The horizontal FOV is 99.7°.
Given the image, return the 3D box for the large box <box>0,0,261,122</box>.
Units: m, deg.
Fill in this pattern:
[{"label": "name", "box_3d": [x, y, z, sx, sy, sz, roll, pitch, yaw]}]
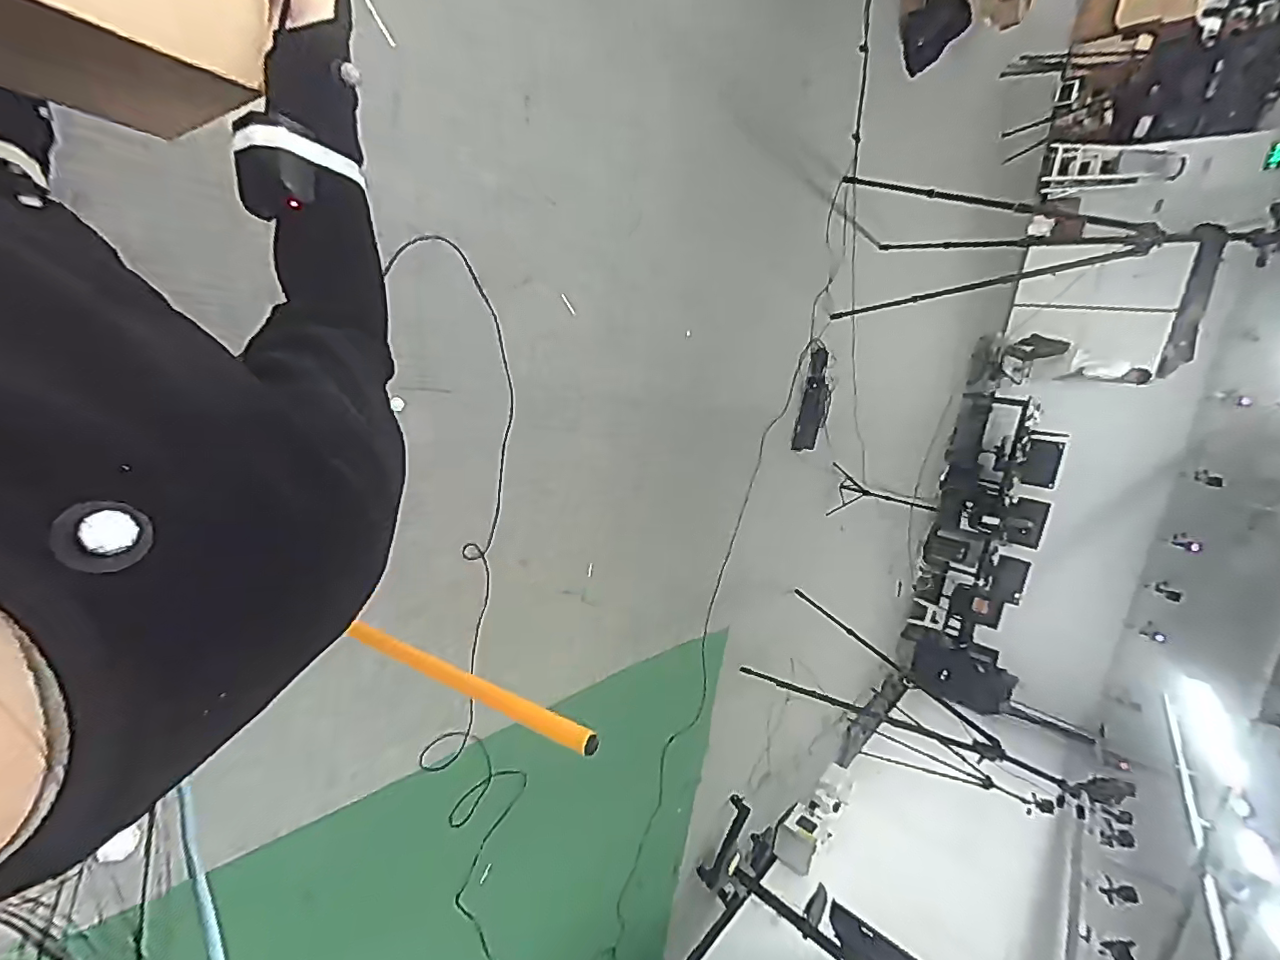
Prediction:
[{"label": "large box", "box_3d": [-0.519, -0.484, 0.335, 0.408, 0.320, 0.320, -7, 110, -50]}]
